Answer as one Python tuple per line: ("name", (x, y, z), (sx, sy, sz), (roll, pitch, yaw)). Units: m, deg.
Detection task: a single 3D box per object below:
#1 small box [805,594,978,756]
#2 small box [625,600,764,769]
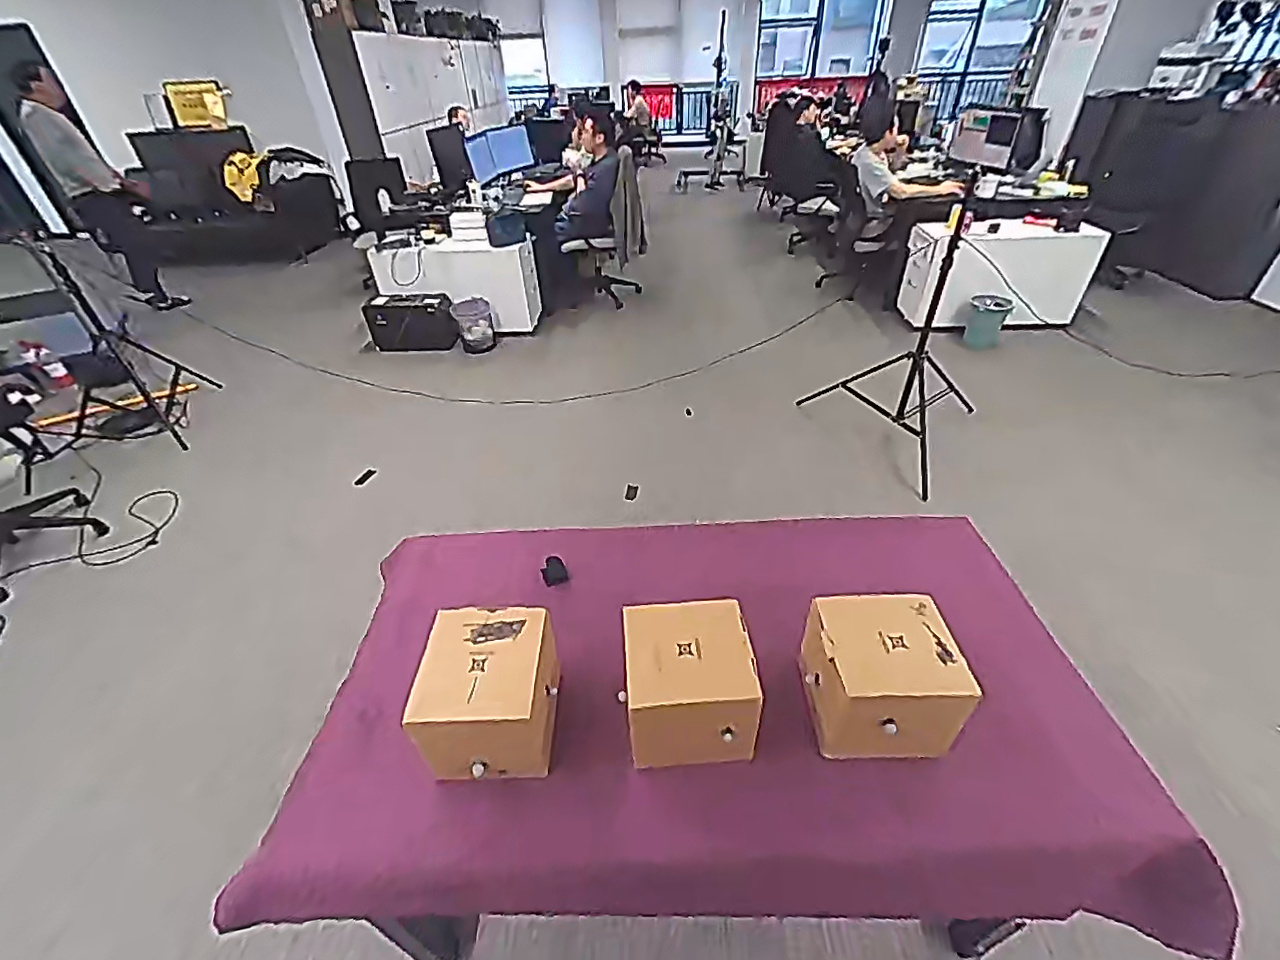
("small box", (0.351, 0.289, 0.800), (0.179, 0.176, 0.168), (-2, 37, 2))
("small box", (0.072, 0.303, 0.802), (0.179, 0.176, 0.168), (-5, 36, -2))
